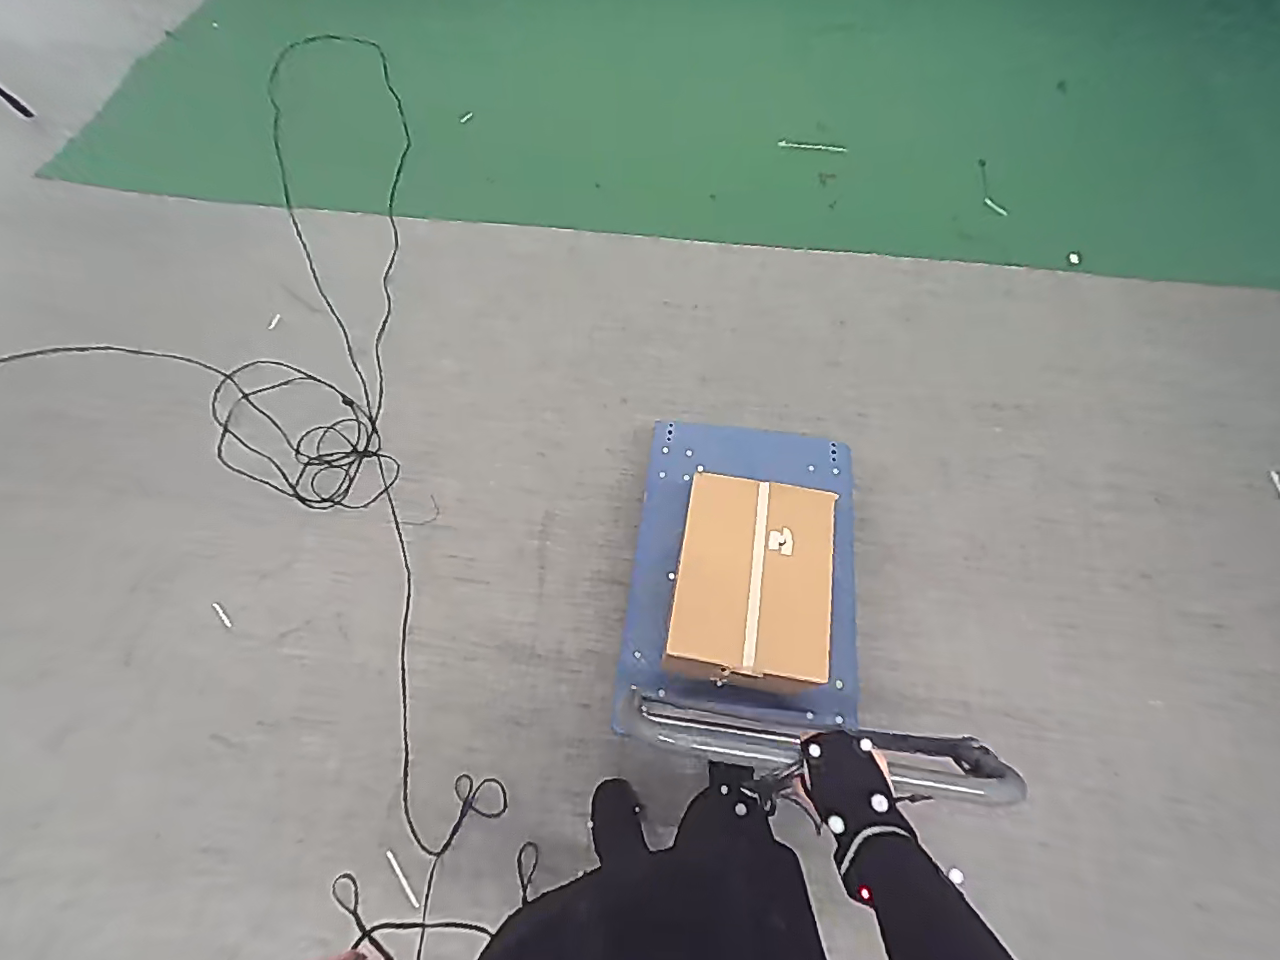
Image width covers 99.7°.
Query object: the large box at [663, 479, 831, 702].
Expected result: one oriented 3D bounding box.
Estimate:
[{"bbox_3d":[0.234,0.261,1.236,0.320,0.320,0.408,10,64,4],"label":"large box"}]
